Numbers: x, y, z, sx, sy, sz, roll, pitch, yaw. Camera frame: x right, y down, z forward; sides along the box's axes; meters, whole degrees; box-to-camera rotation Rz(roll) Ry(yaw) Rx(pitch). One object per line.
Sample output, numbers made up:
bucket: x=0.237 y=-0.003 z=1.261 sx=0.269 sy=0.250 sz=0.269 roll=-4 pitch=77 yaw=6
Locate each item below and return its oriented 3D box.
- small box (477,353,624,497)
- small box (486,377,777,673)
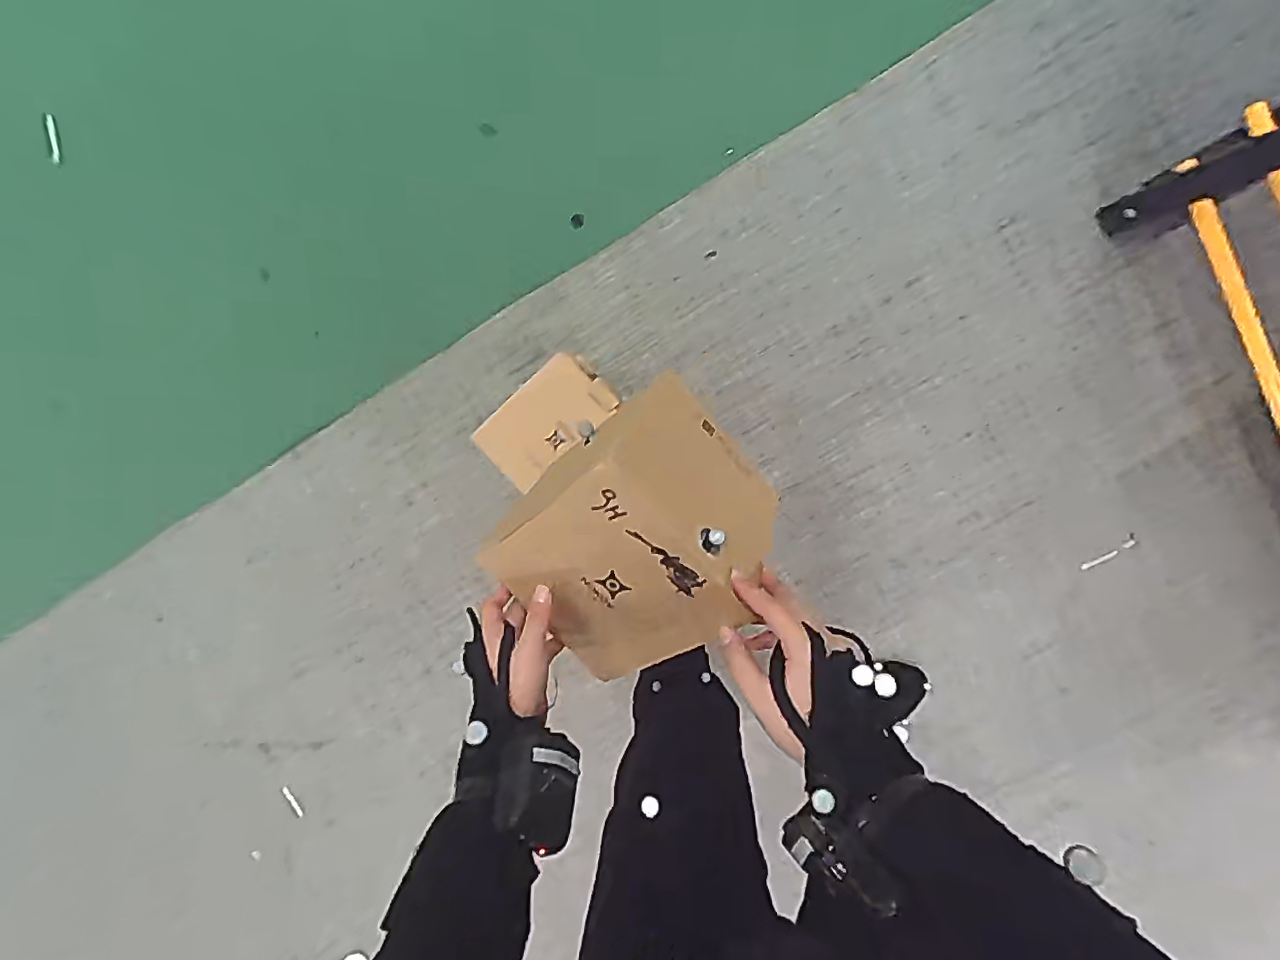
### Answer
small box: x=-0.103 y=-0.063 z=0.805 sx=0.179 sy=0.176 sz=0.168 roll=-43 pitch=92 yaw=7
small box: x=0.003 y=0.039 z=0.491 sx=0.179 sy=0.176 sz=0.168 roll=-33 pitch=107 yaw=35
